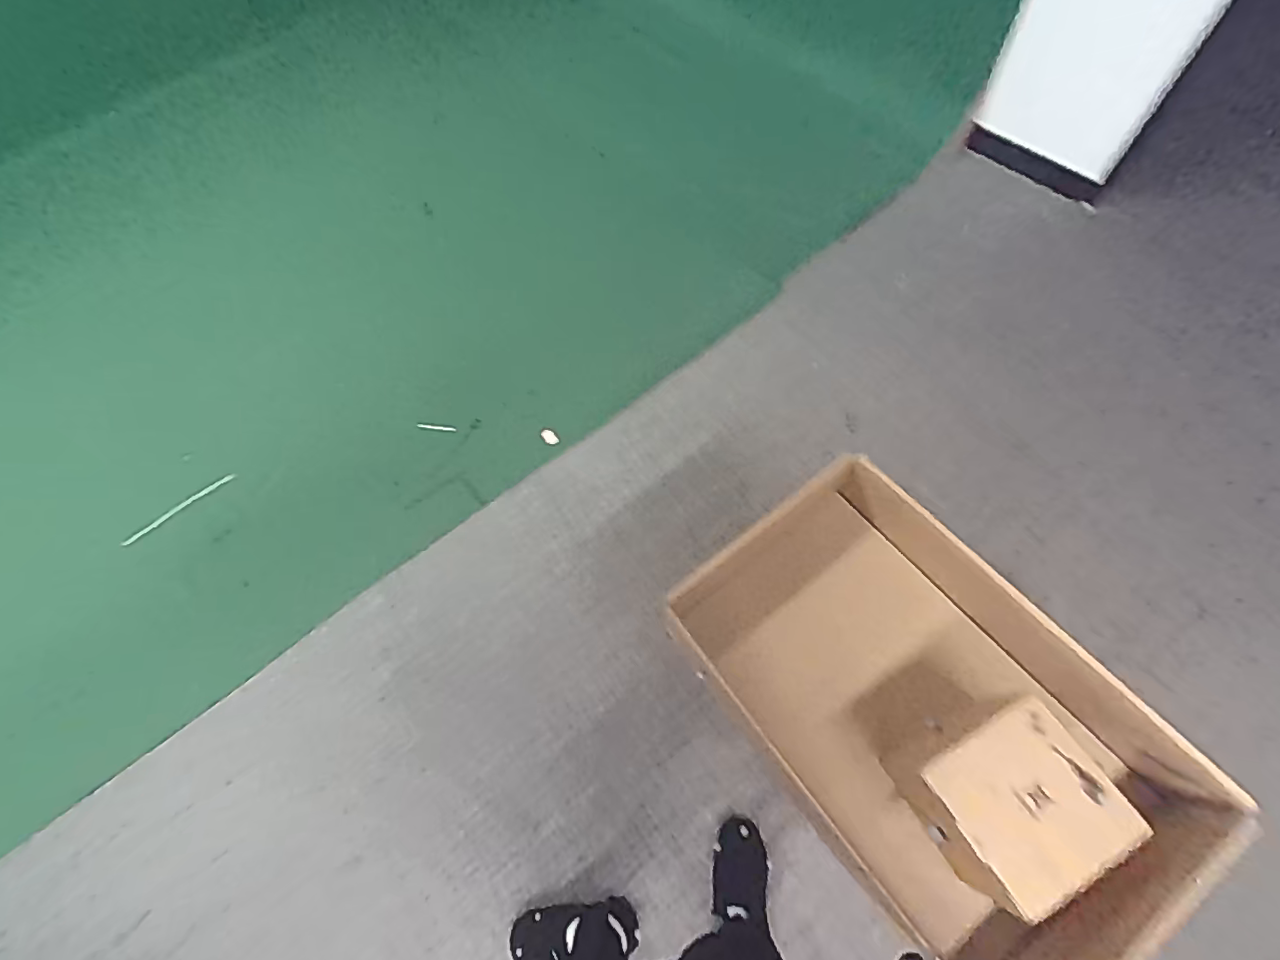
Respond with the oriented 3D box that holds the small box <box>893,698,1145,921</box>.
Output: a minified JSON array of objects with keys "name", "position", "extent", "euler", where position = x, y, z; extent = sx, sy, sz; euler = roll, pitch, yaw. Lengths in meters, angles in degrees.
[{"name":"small box","position":[0.452,0.401,0.687],"extent":[0.179,0.176,0.168],"euler":[-30,66,-6]}]
